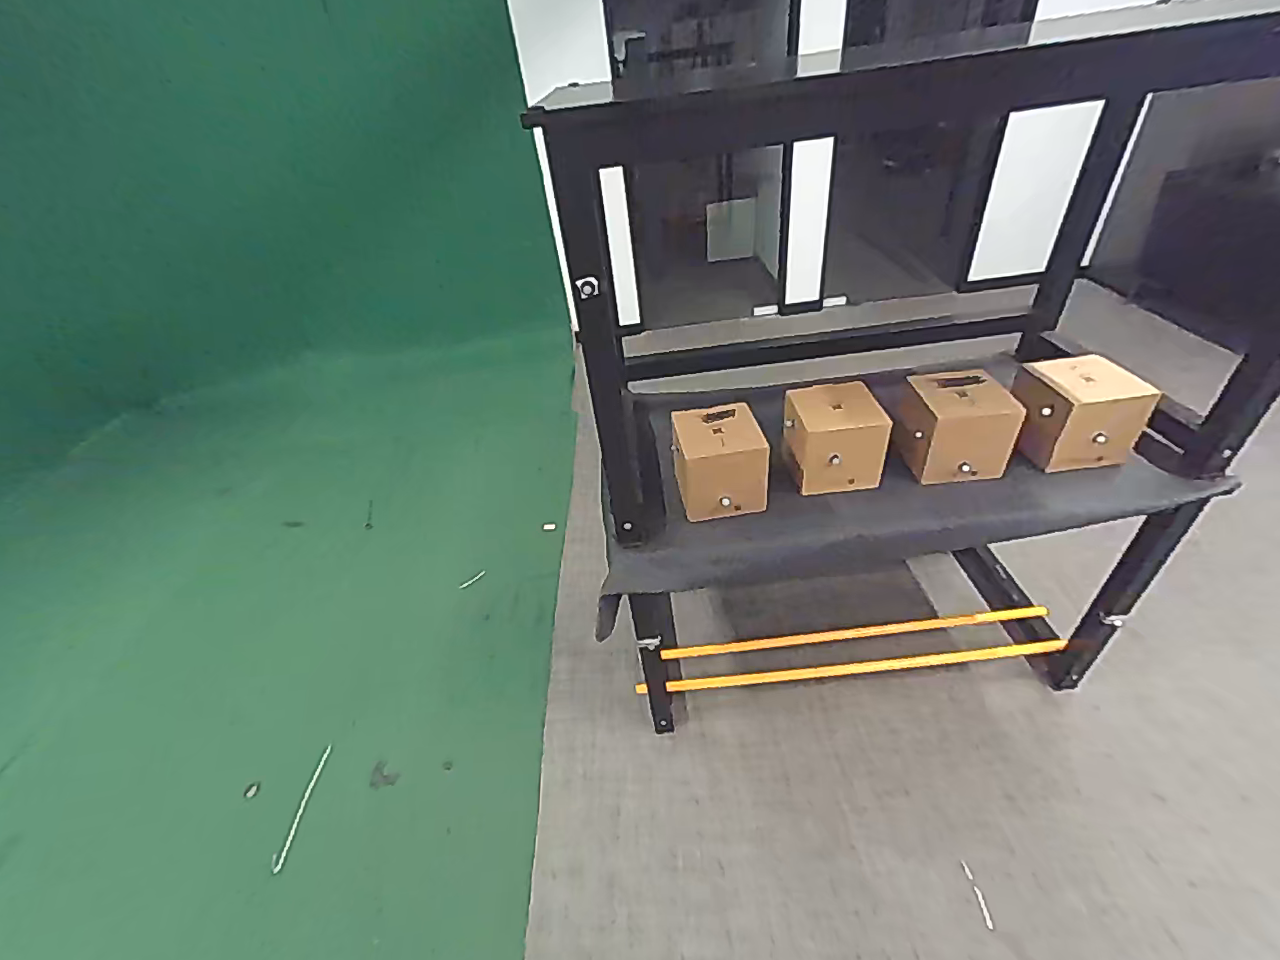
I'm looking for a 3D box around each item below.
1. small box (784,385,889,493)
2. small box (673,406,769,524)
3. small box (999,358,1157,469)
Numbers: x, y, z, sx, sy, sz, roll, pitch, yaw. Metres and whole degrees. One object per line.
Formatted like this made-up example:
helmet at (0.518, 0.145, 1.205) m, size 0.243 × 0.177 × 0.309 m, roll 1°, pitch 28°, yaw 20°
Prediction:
small box at (0.414, -0.083, 1.168) m, size 0.168 × 0.176 × 0.179 m, roll -6°, pitch 37°, yaw 2°
small box at (0.166, -0.032, 1.146) m, size 0.168 × 0.176 × 0.179 m, roll -9°, pitch 38°, yaw -1°
small box at (0.904, -0.136, 1.137) m, size 0.168 × 0.176 × 0.179 m, roll -7°, pitch 37°, yaw 1°
